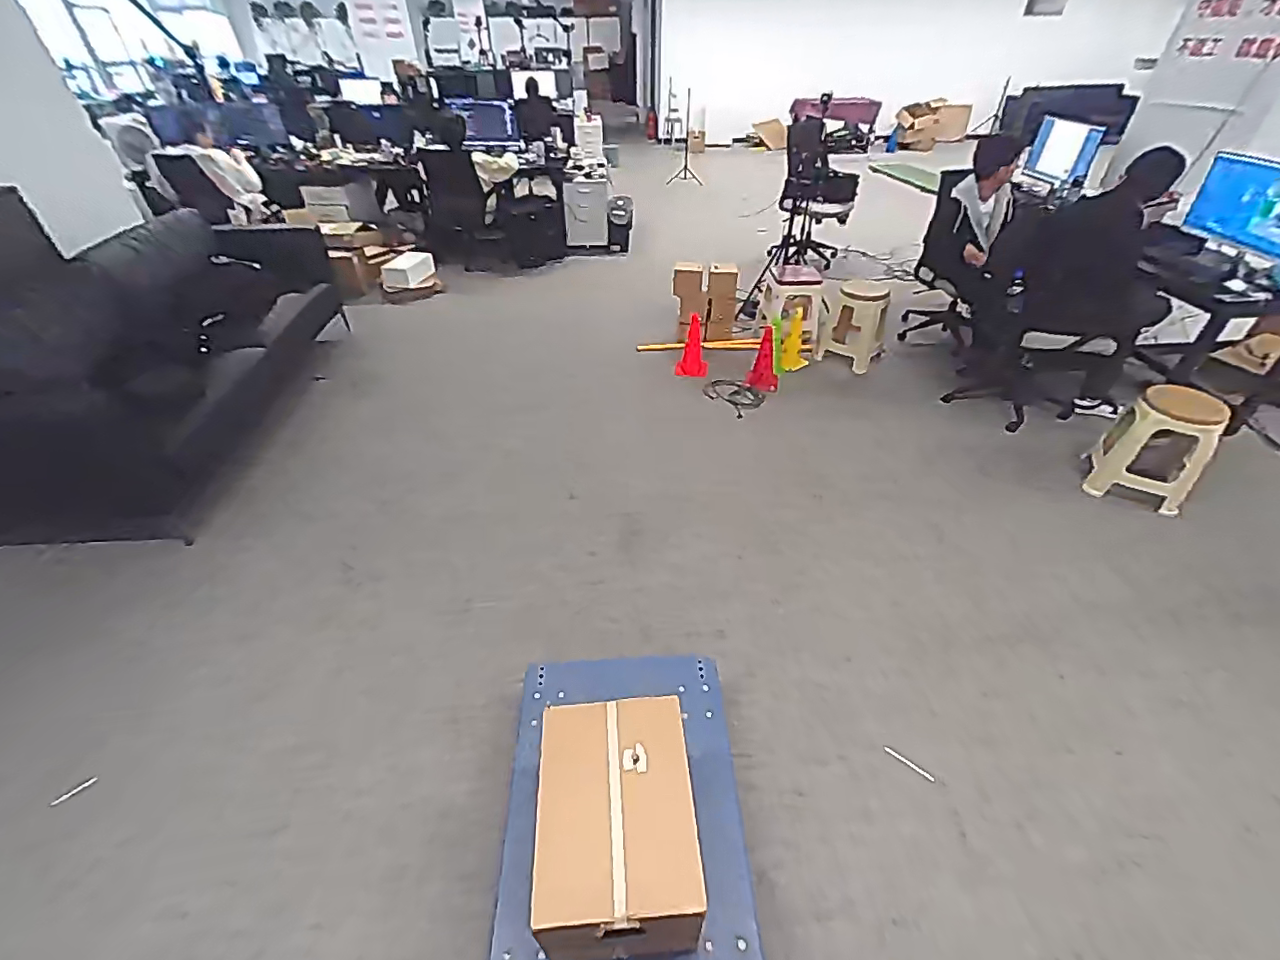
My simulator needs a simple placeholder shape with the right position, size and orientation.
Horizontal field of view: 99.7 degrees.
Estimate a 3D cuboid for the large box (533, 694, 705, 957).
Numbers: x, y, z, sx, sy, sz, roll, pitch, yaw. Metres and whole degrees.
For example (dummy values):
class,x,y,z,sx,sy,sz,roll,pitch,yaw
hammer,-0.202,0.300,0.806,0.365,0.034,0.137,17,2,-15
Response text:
class,x,y,z,sx,sy,sz,roll,pitch,yaw
large box,-0.048,0.752,1.199,0.320,0.320,0.408,-4,40,-3
